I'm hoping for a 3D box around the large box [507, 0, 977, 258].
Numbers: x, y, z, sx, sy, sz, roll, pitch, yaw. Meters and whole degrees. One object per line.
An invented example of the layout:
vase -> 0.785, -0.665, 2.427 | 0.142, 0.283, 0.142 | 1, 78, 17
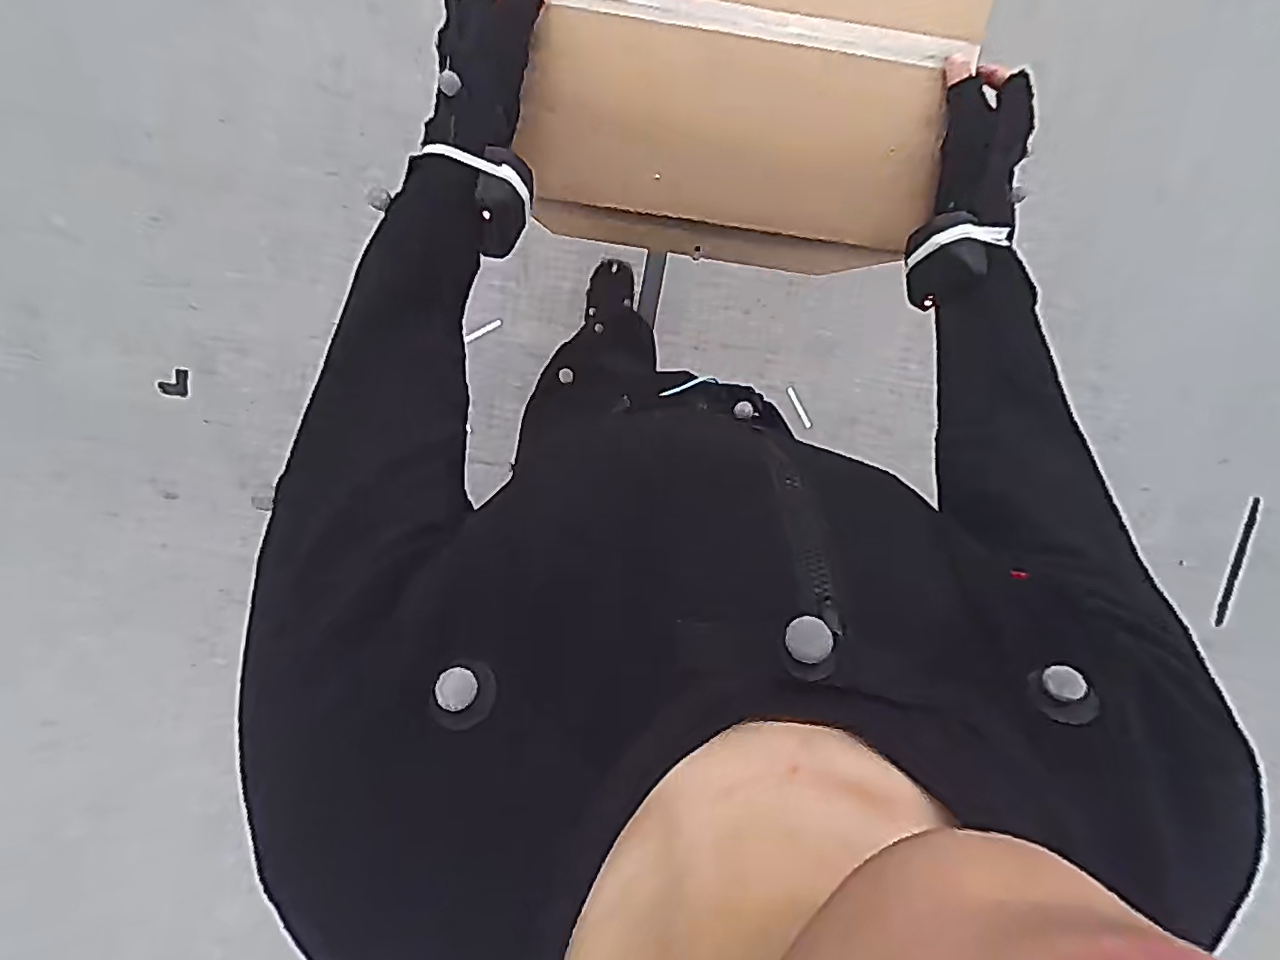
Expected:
large box -> 0.091, -0.448, 0.612 | 0.408, 0.320, 0.320 | 8, 107, -2
